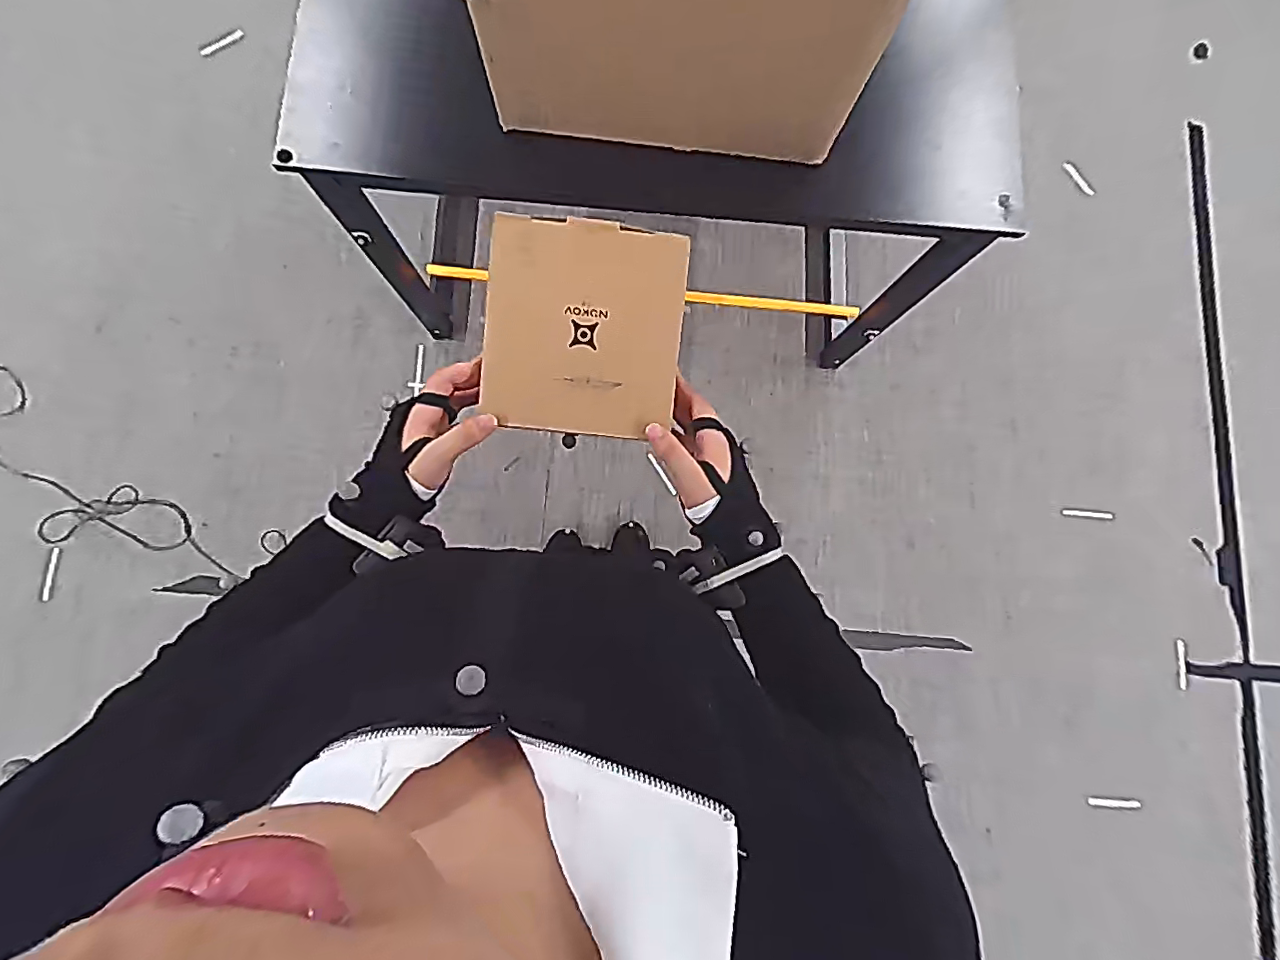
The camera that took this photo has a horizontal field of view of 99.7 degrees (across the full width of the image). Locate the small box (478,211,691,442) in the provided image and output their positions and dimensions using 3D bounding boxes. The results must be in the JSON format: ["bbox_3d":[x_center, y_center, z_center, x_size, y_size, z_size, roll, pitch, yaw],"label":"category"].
[{"bbox_3d":[-0.053,-0.133,0.532,0.168,0.176,0.179,6,95,-4],"label":"small box"}]
